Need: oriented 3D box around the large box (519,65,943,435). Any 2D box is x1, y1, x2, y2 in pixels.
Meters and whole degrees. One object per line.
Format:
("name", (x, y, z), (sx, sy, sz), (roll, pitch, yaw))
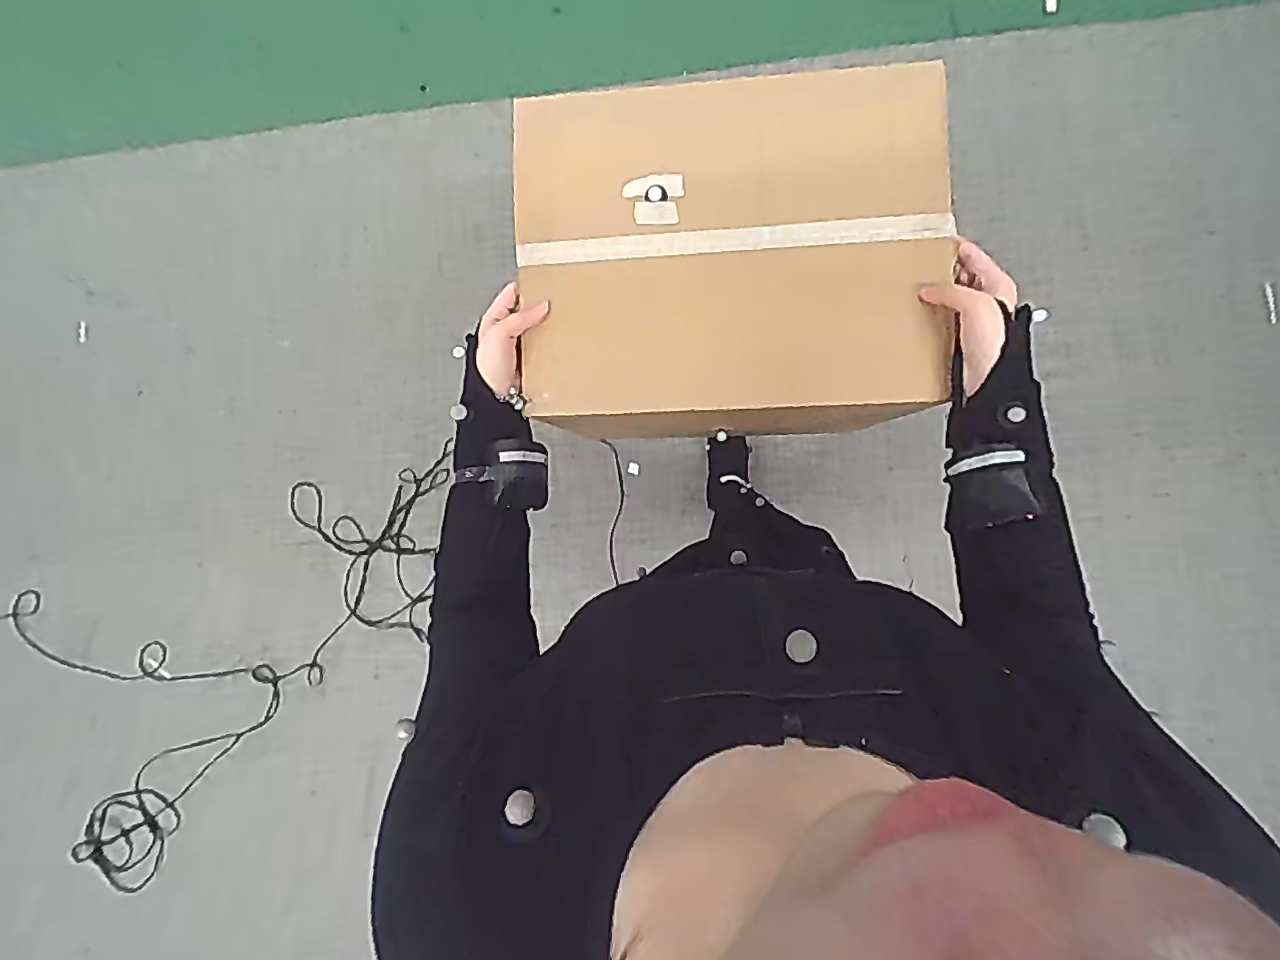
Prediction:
("large box", (0.098, -0.228, 0.674), (0.408, 0.320, 0.320), (-2, 89, 7))
